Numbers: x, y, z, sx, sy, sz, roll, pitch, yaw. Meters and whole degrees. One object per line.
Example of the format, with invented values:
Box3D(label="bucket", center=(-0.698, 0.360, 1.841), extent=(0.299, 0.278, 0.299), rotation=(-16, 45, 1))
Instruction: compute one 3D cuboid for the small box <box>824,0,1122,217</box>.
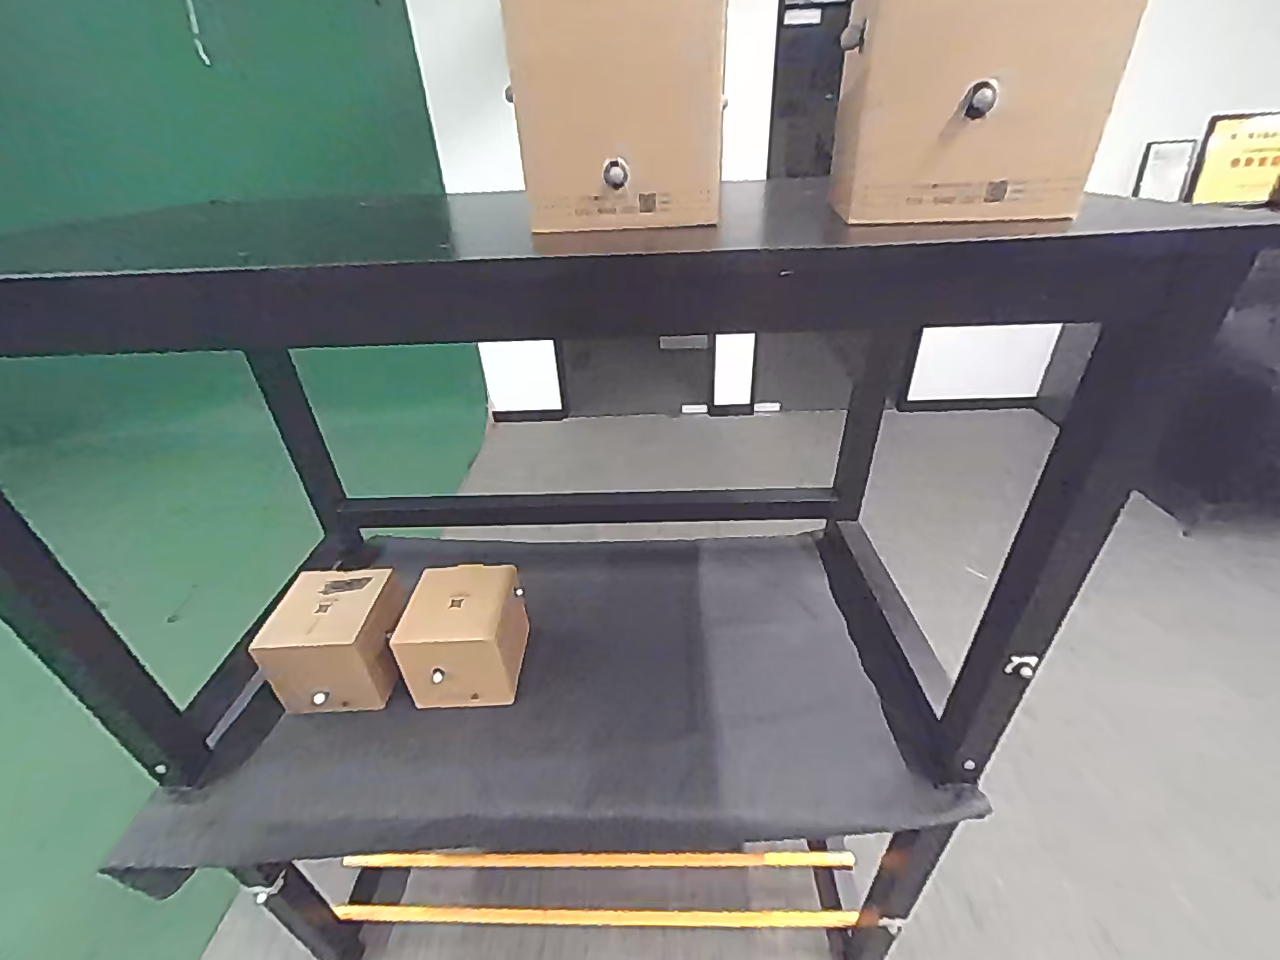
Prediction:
Box3D(label="small box", center=(0.252, -0.318, 0.448), extent=(0.168, 0.176, 0.179), rotation=(4, 32, 11))

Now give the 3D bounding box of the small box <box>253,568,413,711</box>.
Box3D(label="small box", center=(-0.517, 0.276, 0.946), extent=(0.168, 0.176, 0.179), rotation=(-3, 32, 0))
